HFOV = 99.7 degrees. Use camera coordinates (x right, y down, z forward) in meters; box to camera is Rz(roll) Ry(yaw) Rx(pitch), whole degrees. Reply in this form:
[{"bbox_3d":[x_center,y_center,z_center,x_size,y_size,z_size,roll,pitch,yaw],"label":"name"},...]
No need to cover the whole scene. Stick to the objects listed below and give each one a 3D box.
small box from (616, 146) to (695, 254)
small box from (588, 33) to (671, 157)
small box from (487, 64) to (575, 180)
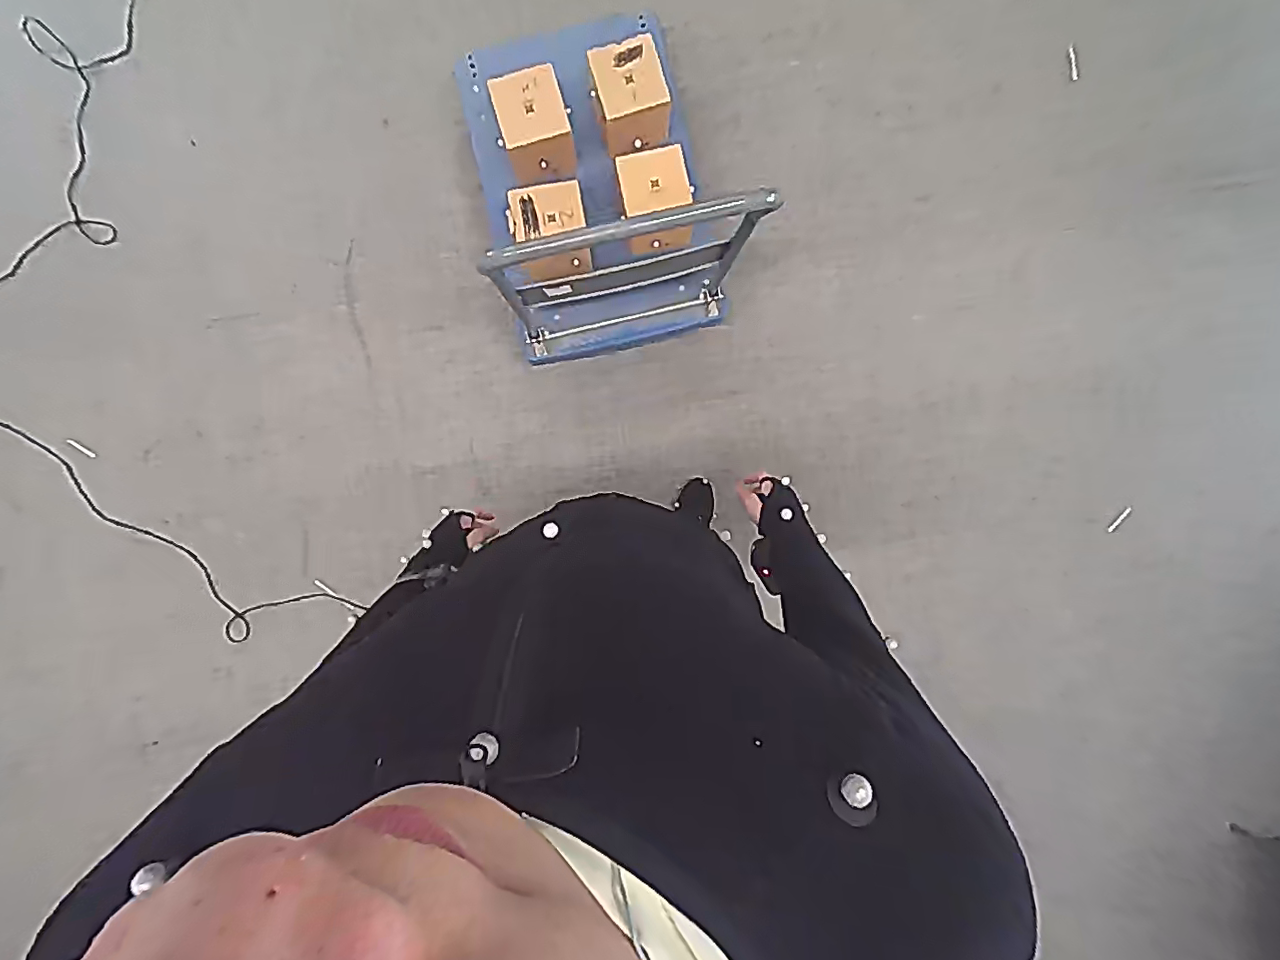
[{"bbox_3d":[0.035,-0.711,1.387,0.168,0.176,0.179,-12,91,-1],"label":"small box"},{"bbox_3d":[-0.028,-0.974,1.382,0.168,0.176,0.179,-17,92,0],"label":"small box"},{"bbox_3d":[-0.270,-0.899,1.379,0.168,0.176,0.179,-16,91,-1],"label":"small box"}]
